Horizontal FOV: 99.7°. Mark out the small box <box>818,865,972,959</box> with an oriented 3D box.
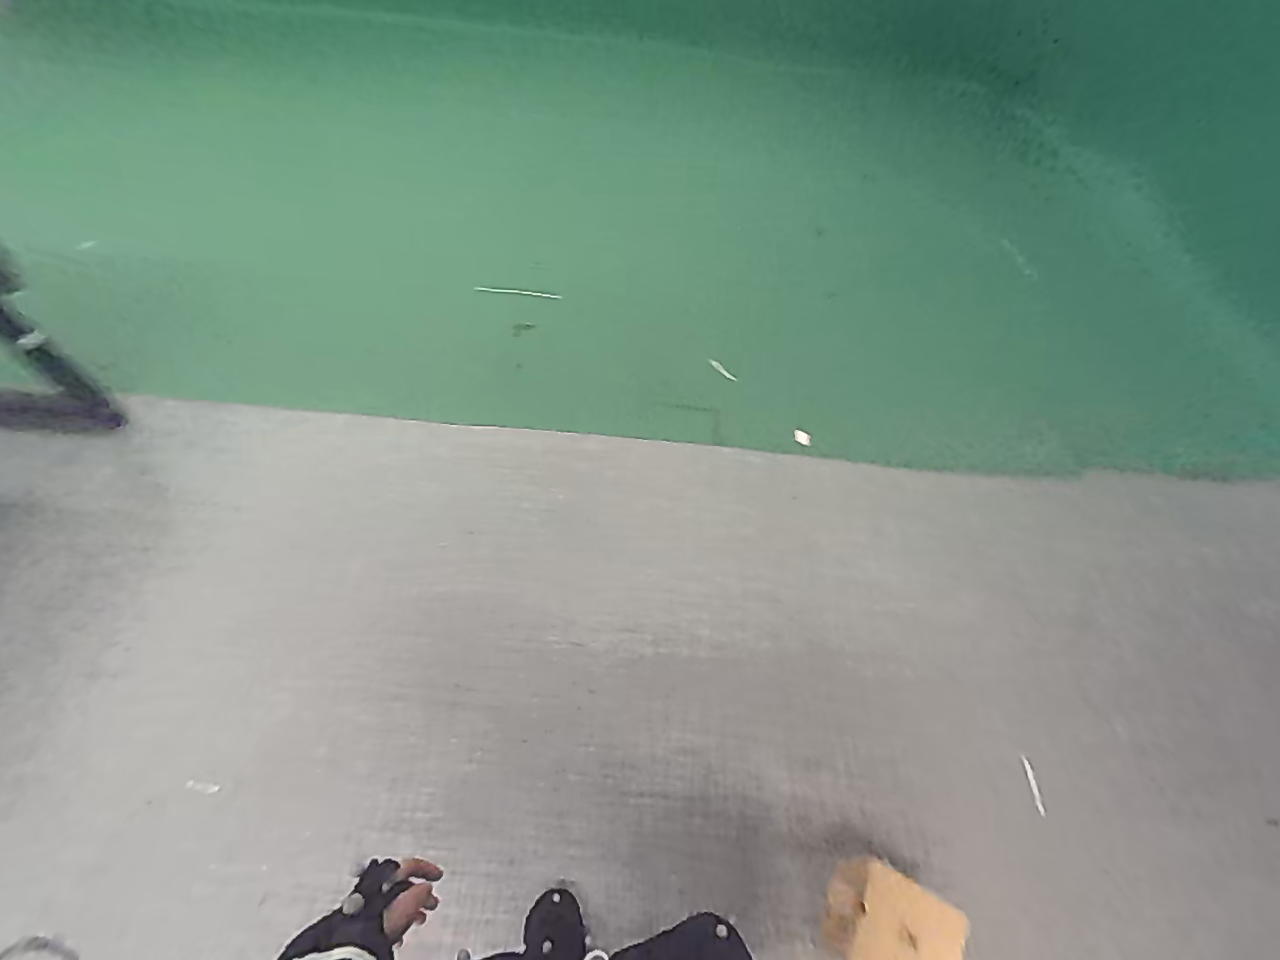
[{"bbox_3d":[0.450,0.822,0.970,0.179,0.176,0.168,26,58,13],"label":"small box"}]
